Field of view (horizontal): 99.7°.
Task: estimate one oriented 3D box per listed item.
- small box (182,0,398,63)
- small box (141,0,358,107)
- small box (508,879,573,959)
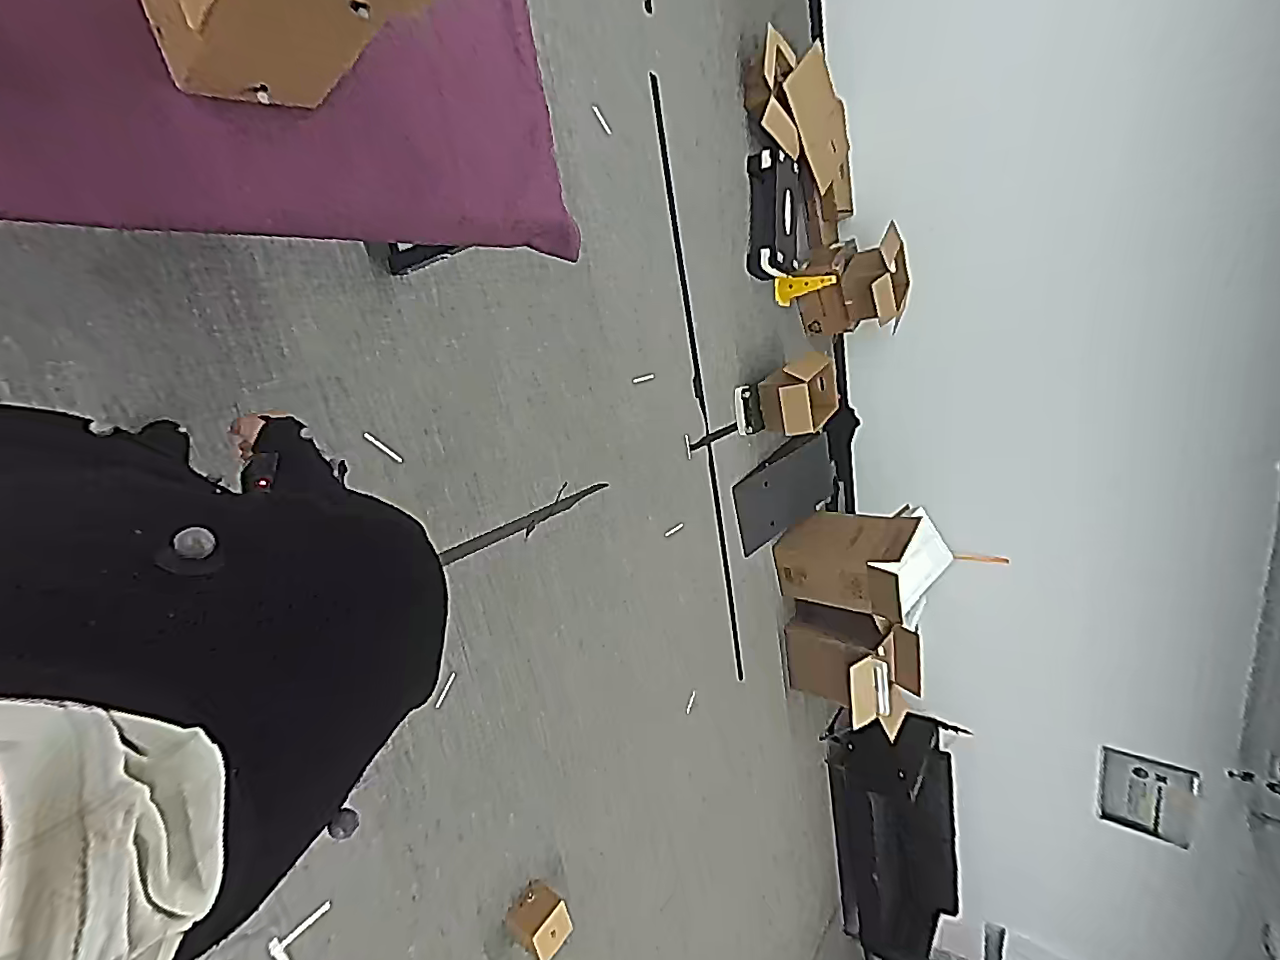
[{"bbox_3d":[-0.395,-0.587,0.579,0.179,0.176,0.168,-30,115,-44],"label":"small box"},{"bbox_3d":[-0.508,-0.610,0.694,0.179,0.176,0.168,-31,114,-45],"label":"small box"},{"bbox_3d":[-0.396,1.749,2.153,0.168,0.176,0.179,-31,116,-44],"label":"small box"}]
